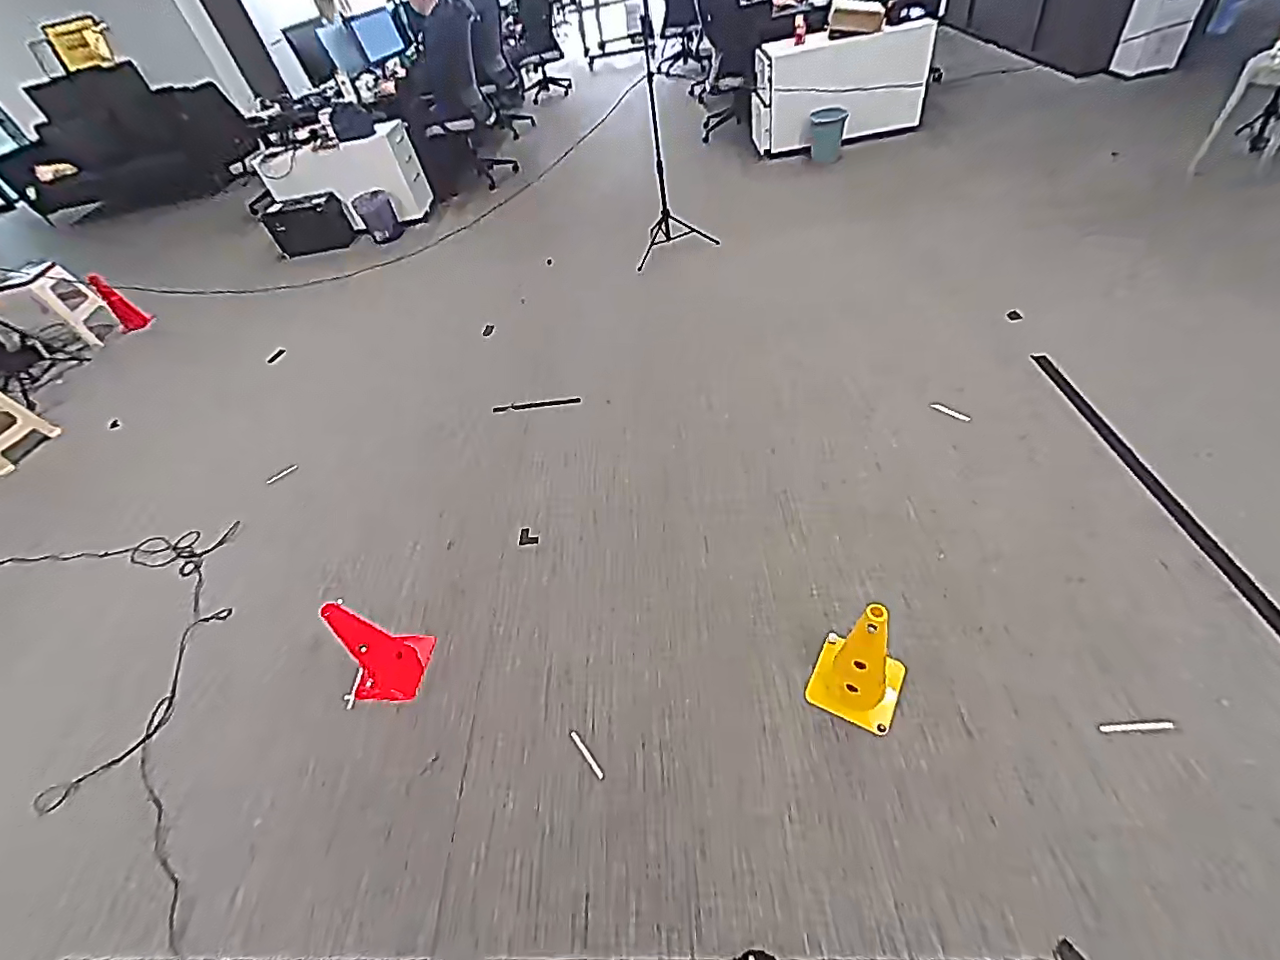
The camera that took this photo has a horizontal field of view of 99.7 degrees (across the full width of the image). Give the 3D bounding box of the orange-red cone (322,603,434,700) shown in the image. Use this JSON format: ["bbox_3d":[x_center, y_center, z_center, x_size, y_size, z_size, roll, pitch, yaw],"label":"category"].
[{"bbox_3d":[-0.756,0.440,1.490,0.199,0.360,0.198,0,48,11],"label":"orange-red cone"}]
